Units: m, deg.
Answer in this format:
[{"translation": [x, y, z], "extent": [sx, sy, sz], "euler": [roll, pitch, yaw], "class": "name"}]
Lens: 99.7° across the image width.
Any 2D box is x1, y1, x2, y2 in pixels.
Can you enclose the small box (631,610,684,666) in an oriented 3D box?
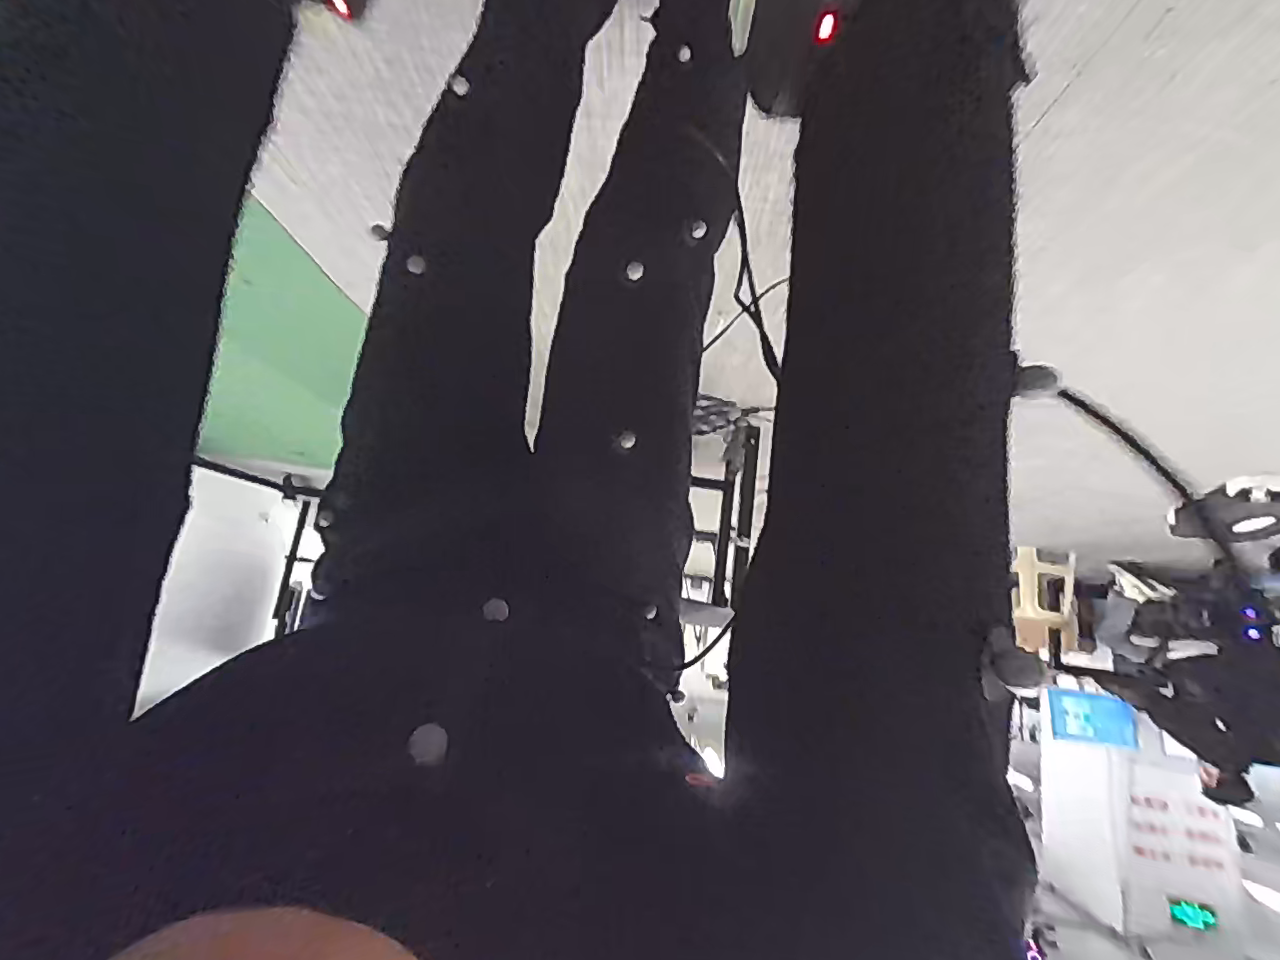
[{"translation": [0.066, 0.585, 2.009], "extent": [0.179, 0.176, 0.168], "euler": [9, 167, 3], "class": "small box"}]
